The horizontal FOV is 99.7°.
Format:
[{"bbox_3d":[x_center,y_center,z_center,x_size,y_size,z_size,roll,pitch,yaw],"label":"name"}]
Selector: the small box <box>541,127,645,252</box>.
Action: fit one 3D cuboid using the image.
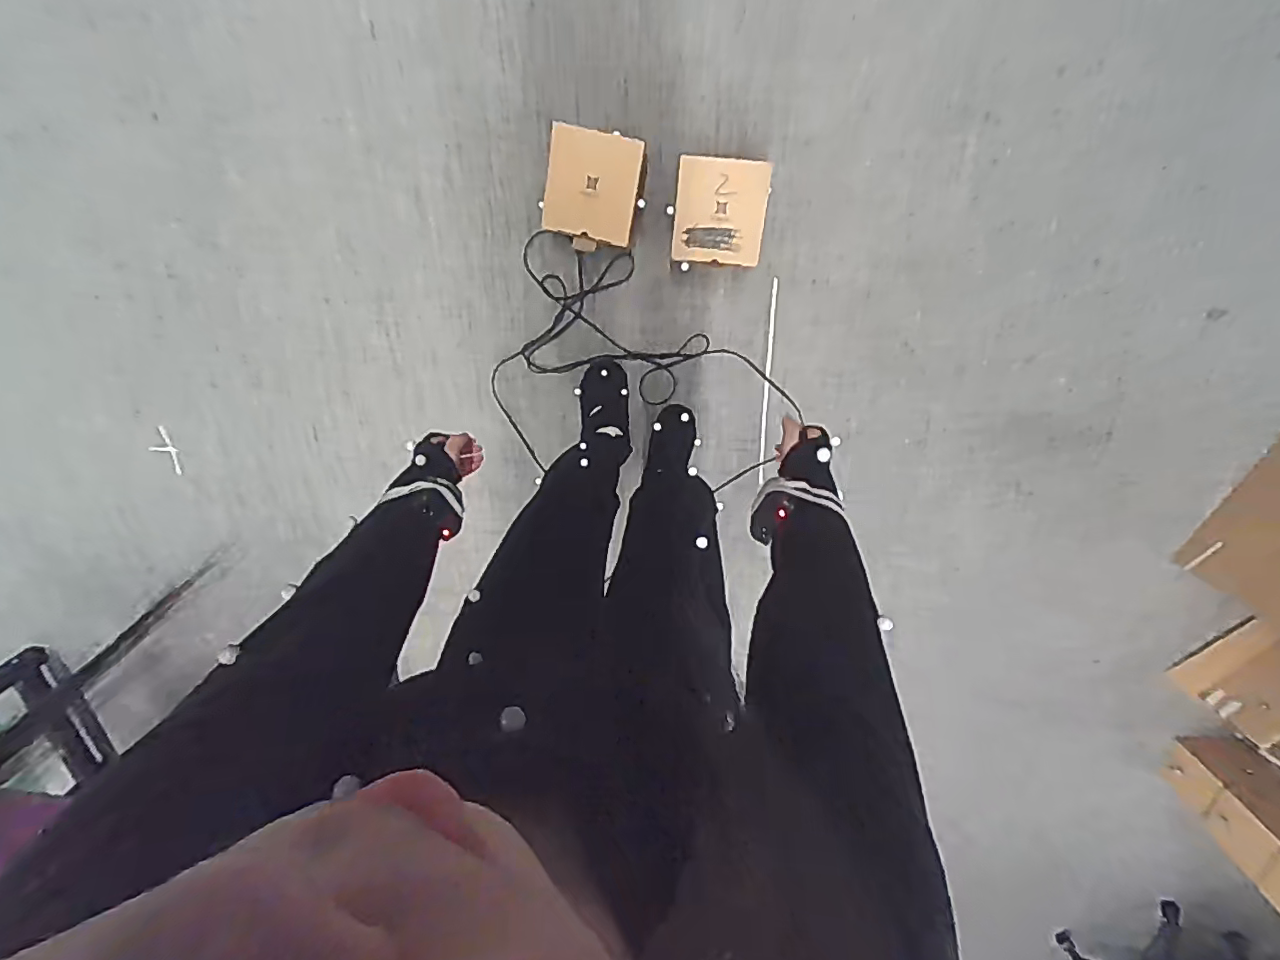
[{"bbox_3d":[-0.087,-0.557,1.053,0.168,0.176,0.179,12,115,-3],"label":"small box"}]
